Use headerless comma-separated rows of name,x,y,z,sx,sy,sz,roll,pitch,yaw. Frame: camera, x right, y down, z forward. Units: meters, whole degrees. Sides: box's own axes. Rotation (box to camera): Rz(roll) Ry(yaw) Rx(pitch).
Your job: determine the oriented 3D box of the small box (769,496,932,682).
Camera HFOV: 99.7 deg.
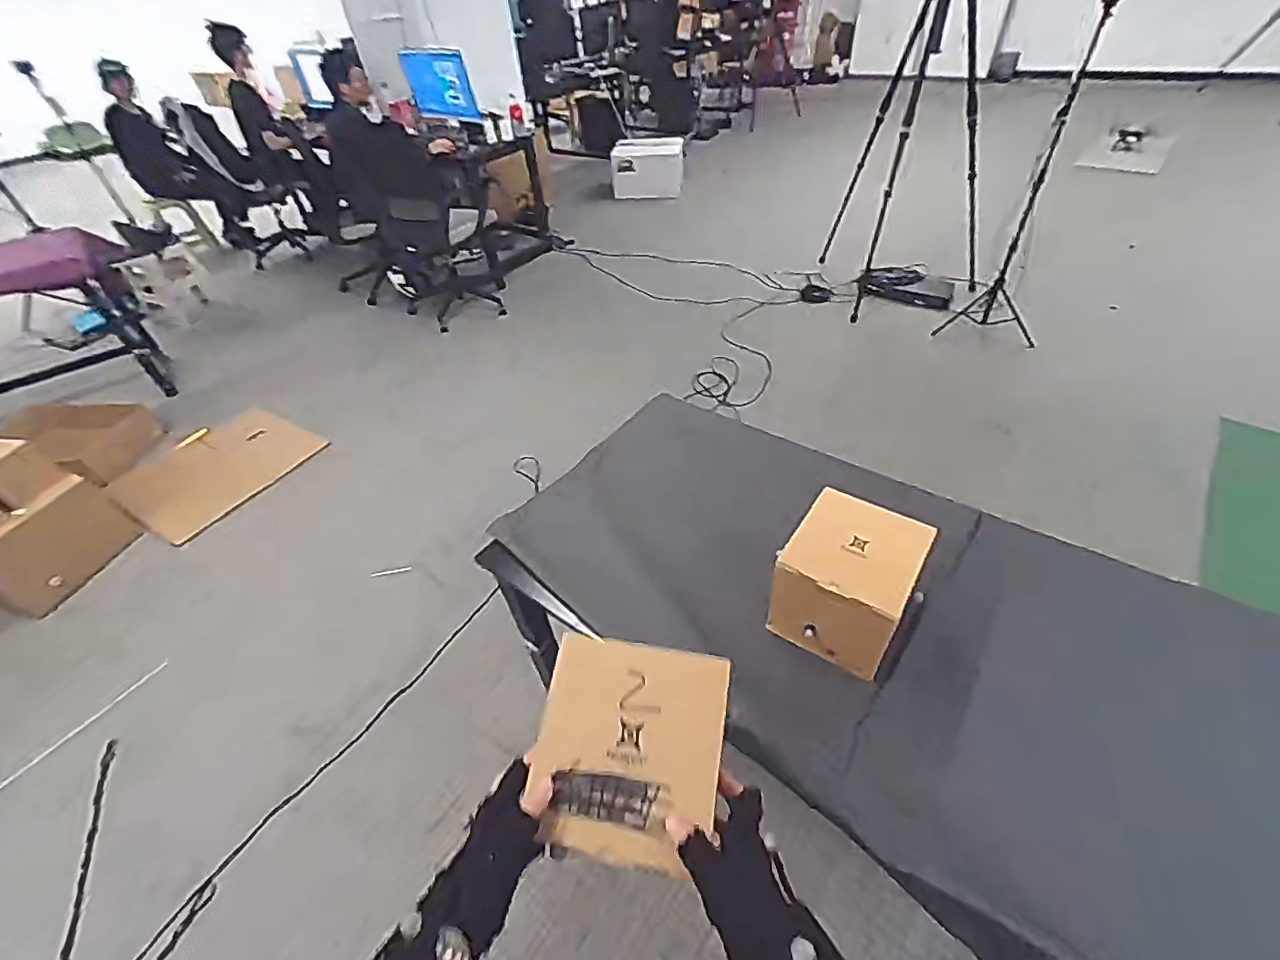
small box,0.306,0.162,0.813,0.168,0.176,0.179,24,52,27
